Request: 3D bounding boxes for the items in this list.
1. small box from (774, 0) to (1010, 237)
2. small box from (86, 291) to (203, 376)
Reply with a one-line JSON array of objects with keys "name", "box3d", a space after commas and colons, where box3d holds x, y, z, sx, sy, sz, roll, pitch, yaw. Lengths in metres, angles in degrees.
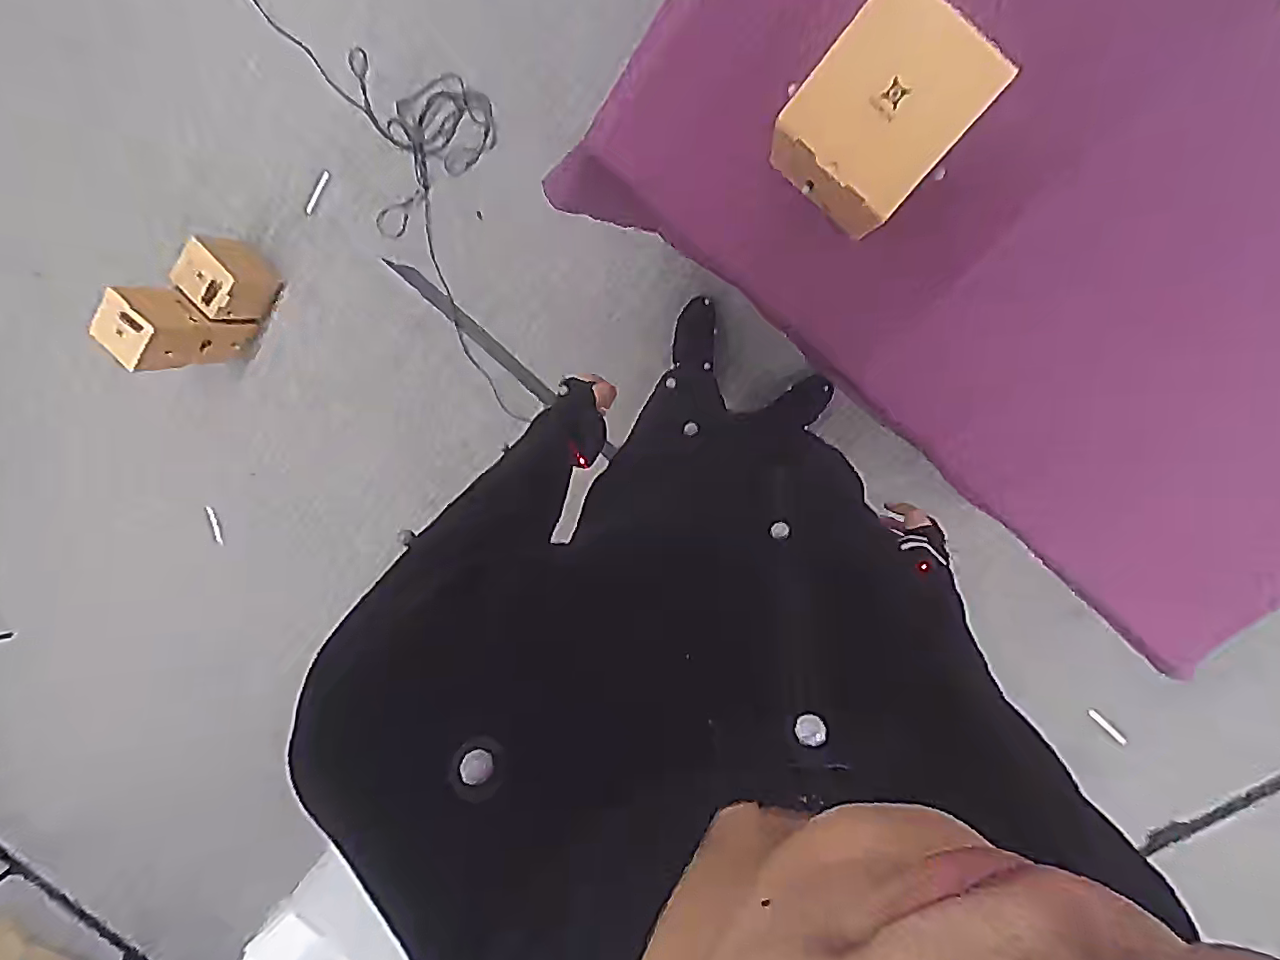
[{"name": "small box", "box3d": [0.276, -0.422, 0.645, 0.168, 0.176, 0.179, 41, 111, -3]}, {"name": "small box", "box3d": [-1.435, -0.430, 1.578, 0.179, 0.176, 0.168, -42, 95, 21]}]
